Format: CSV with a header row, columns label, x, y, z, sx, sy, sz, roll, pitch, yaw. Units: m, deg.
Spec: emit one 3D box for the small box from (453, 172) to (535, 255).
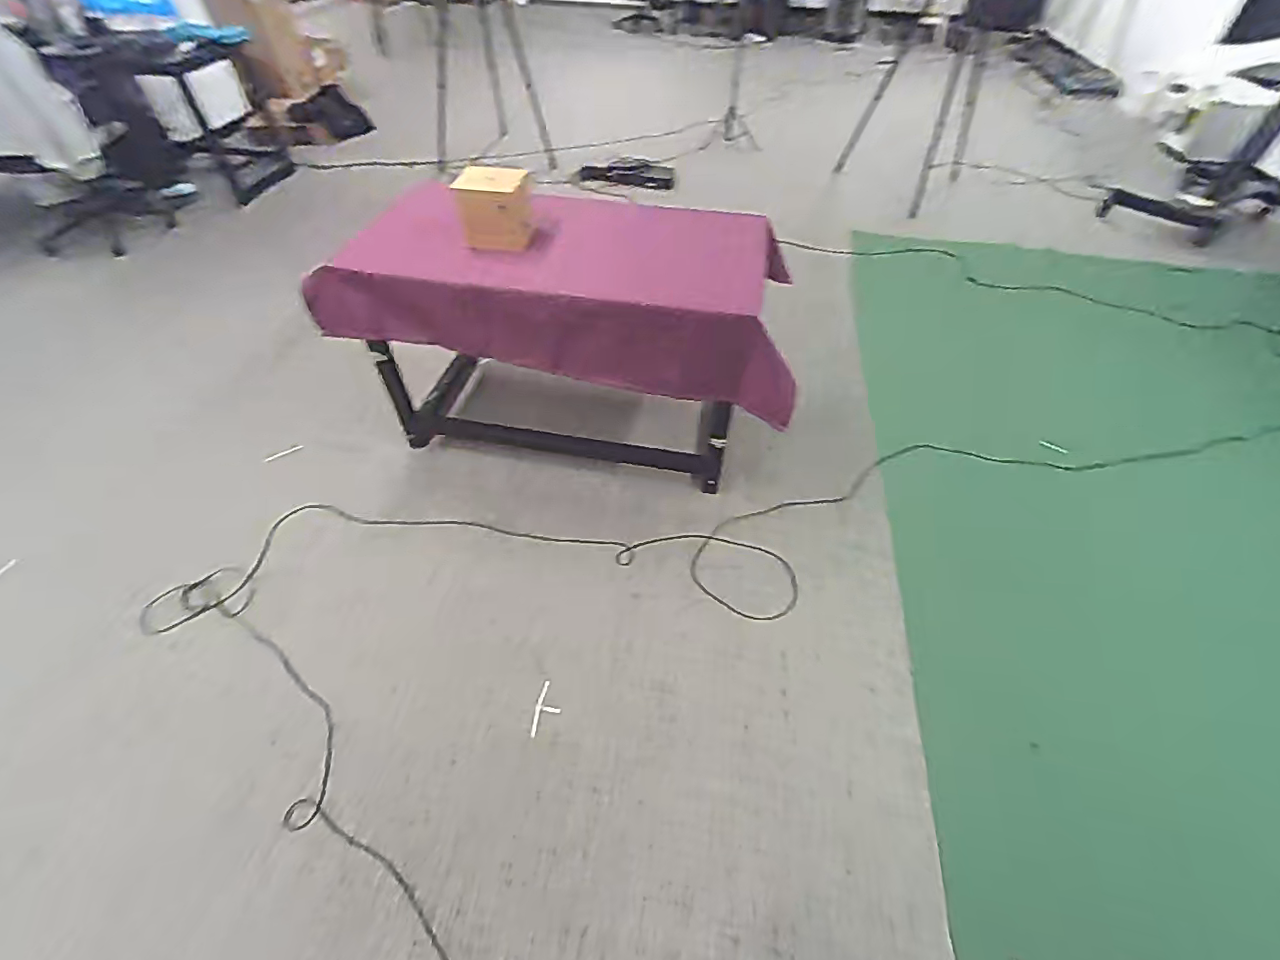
label,x,y,z,sx,sy,sz,roll,pitch,yaw
small box,-0.418,-0.776,1.578,0.179,0.176,0.168,6,49,3
